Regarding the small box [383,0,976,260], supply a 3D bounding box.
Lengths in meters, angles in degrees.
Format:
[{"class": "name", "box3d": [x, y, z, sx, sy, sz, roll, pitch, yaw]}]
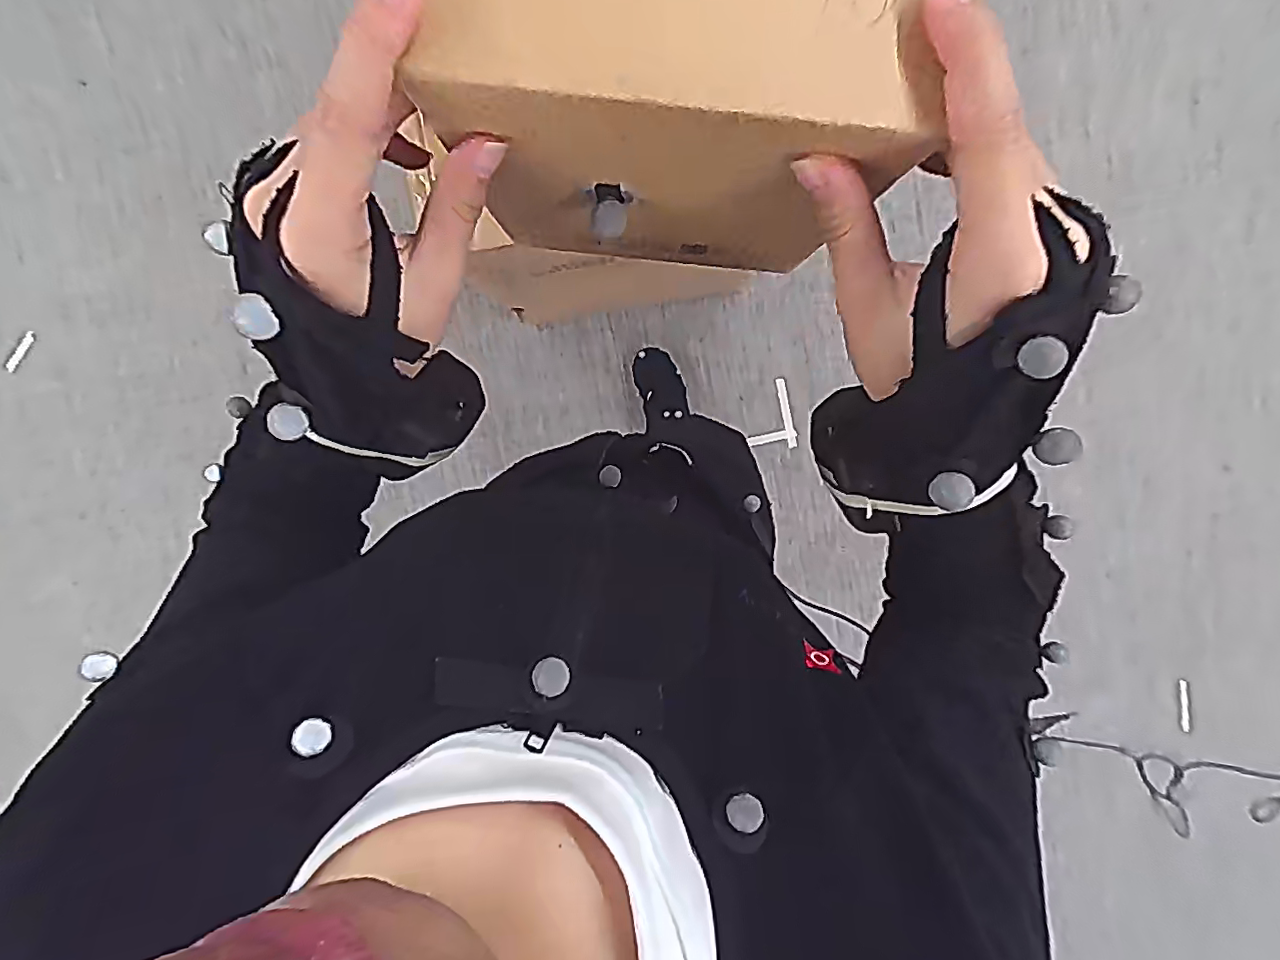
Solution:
[{"class": "small box", "box3d": [0.017, -0.205, 0.221, 0.168, 0.176, 0.179, 5, 95, -1]}]
